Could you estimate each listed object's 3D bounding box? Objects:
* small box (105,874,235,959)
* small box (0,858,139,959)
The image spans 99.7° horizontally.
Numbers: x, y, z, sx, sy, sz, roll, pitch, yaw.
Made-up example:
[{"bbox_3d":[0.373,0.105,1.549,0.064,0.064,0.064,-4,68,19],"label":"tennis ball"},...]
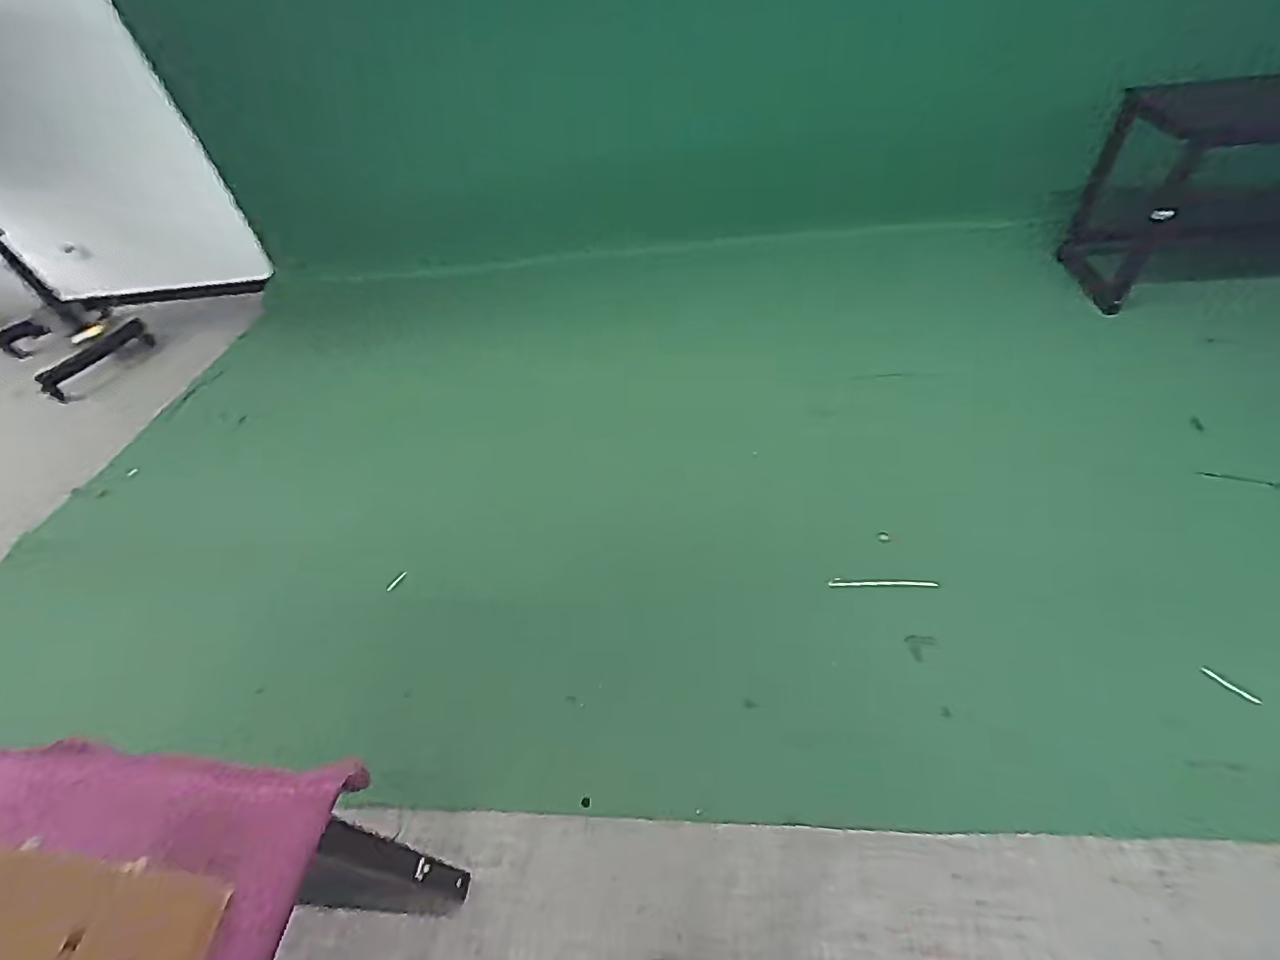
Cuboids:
[{"bbox_3d":[-0.593,0.544,0.584,0.168,0.176,0.179,-4,48,7],"label":"small box"},{"bbox_3d":[-0.618,0.432,0.467,0.179,0.176,0.168,-4,49,8],"label":"small box"}]
